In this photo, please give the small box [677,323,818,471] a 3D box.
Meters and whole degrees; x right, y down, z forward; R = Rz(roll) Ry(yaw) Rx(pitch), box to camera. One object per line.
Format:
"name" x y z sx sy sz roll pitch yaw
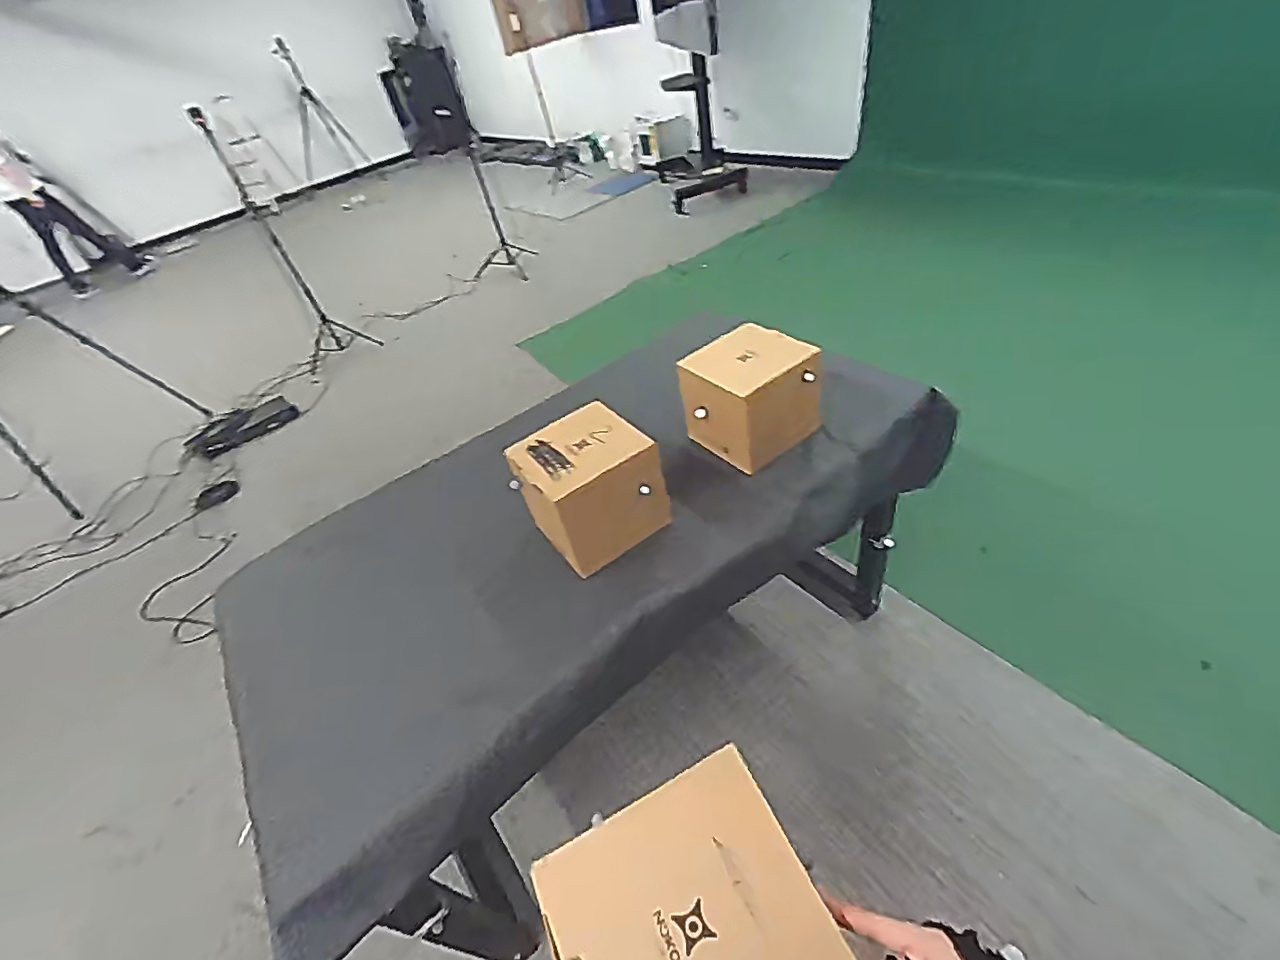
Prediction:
"small box" 0.192 -0.145 0.946 0.179 0.176 0.168 -32 44 -20
